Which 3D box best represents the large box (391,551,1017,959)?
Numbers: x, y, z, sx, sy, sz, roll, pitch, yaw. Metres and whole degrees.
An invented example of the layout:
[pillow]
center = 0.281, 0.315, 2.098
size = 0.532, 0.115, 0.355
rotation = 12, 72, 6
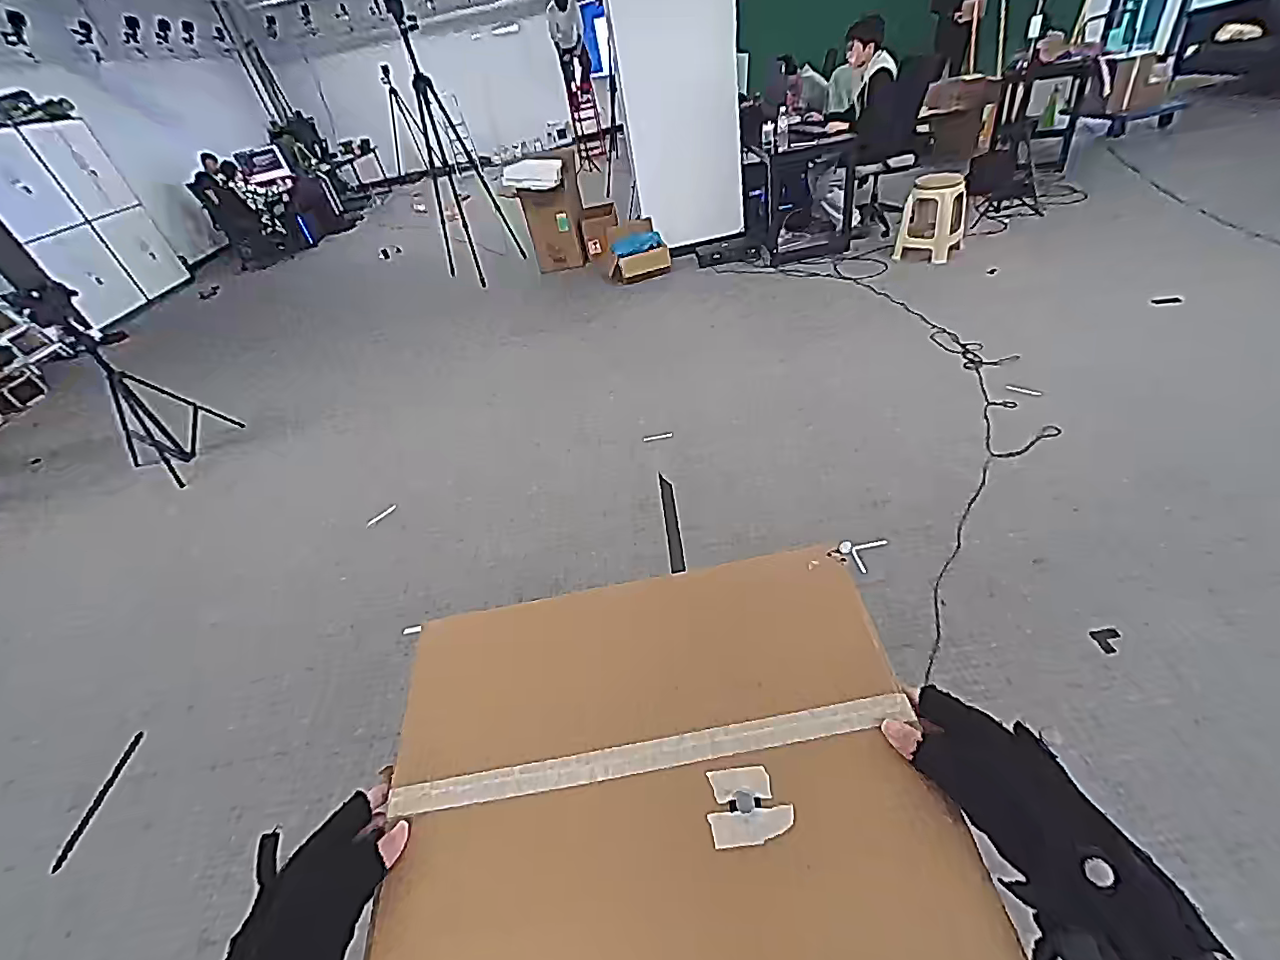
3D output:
[large box]
center = 0.035, 0.318, 0.532
size = 0.408, 0.320, 0.320
rotation = -11, 47, 1
